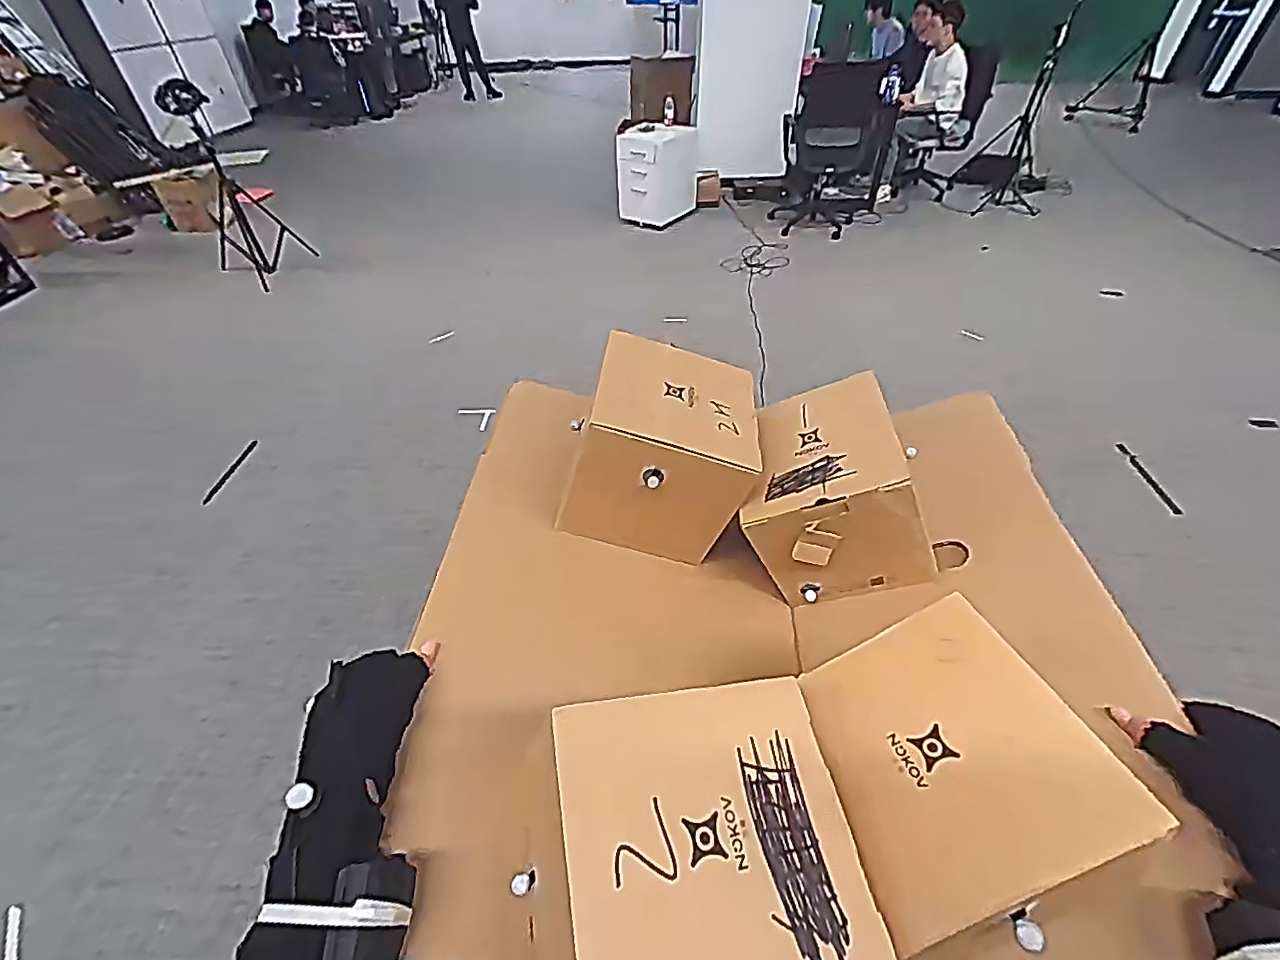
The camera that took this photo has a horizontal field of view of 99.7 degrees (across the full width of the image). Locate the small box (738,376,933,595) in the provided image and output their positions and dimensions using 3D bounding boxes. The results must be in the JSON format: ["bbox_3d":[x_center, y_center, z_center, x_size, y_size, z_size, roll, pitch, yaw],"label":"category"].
[{"bbox_3d":[0.222,0.017,0.629,0.168,0.176,0.179,-17,40,24],"label":"small box"}]
